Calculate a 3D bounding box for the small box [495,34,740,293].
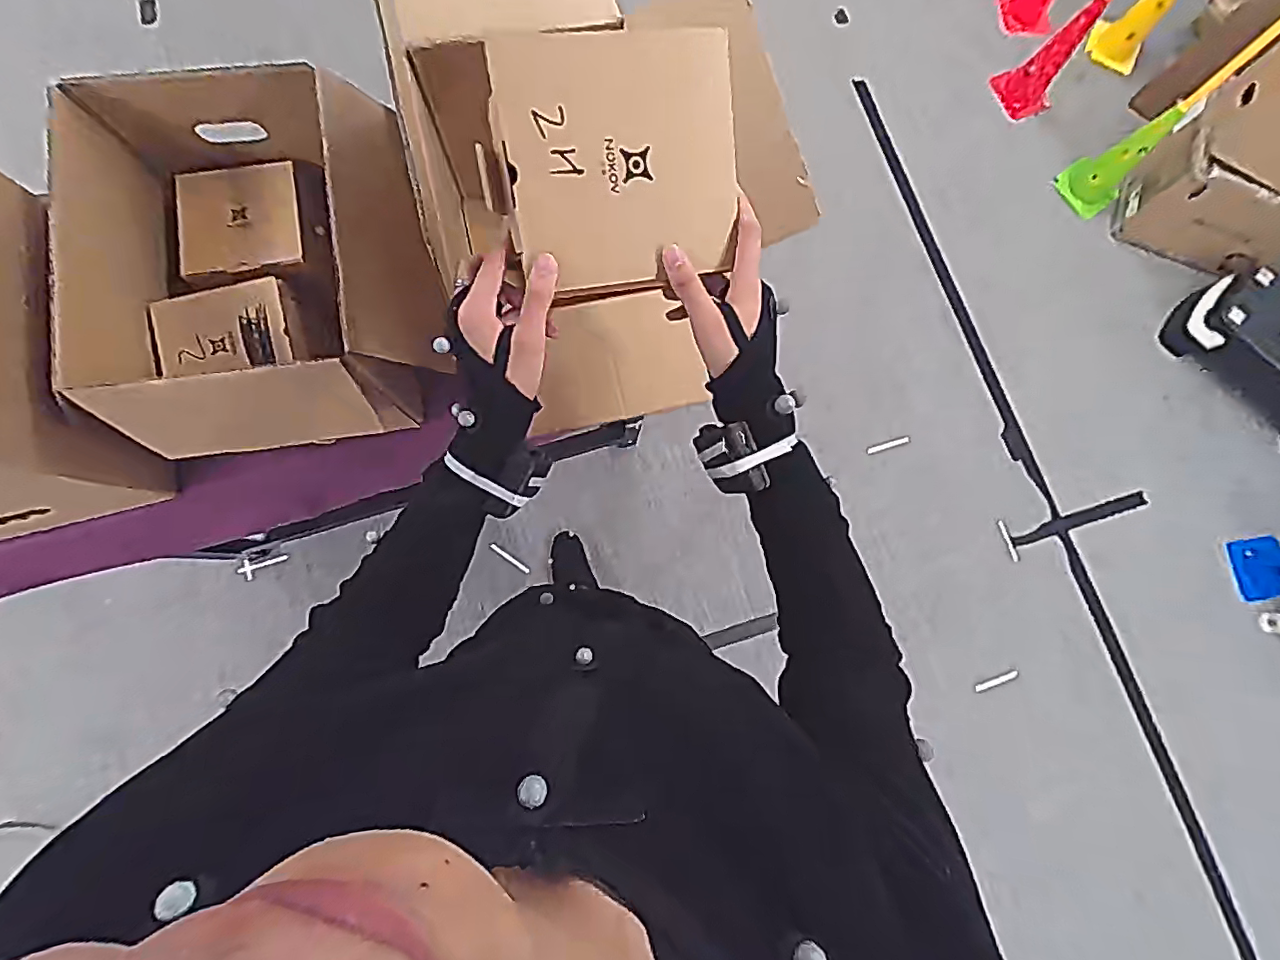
[{"bbox_3d":[-0.025,-0.263,0.485,0.179,0.176,0.168,-10,109,-8],"label":"small box"}]
